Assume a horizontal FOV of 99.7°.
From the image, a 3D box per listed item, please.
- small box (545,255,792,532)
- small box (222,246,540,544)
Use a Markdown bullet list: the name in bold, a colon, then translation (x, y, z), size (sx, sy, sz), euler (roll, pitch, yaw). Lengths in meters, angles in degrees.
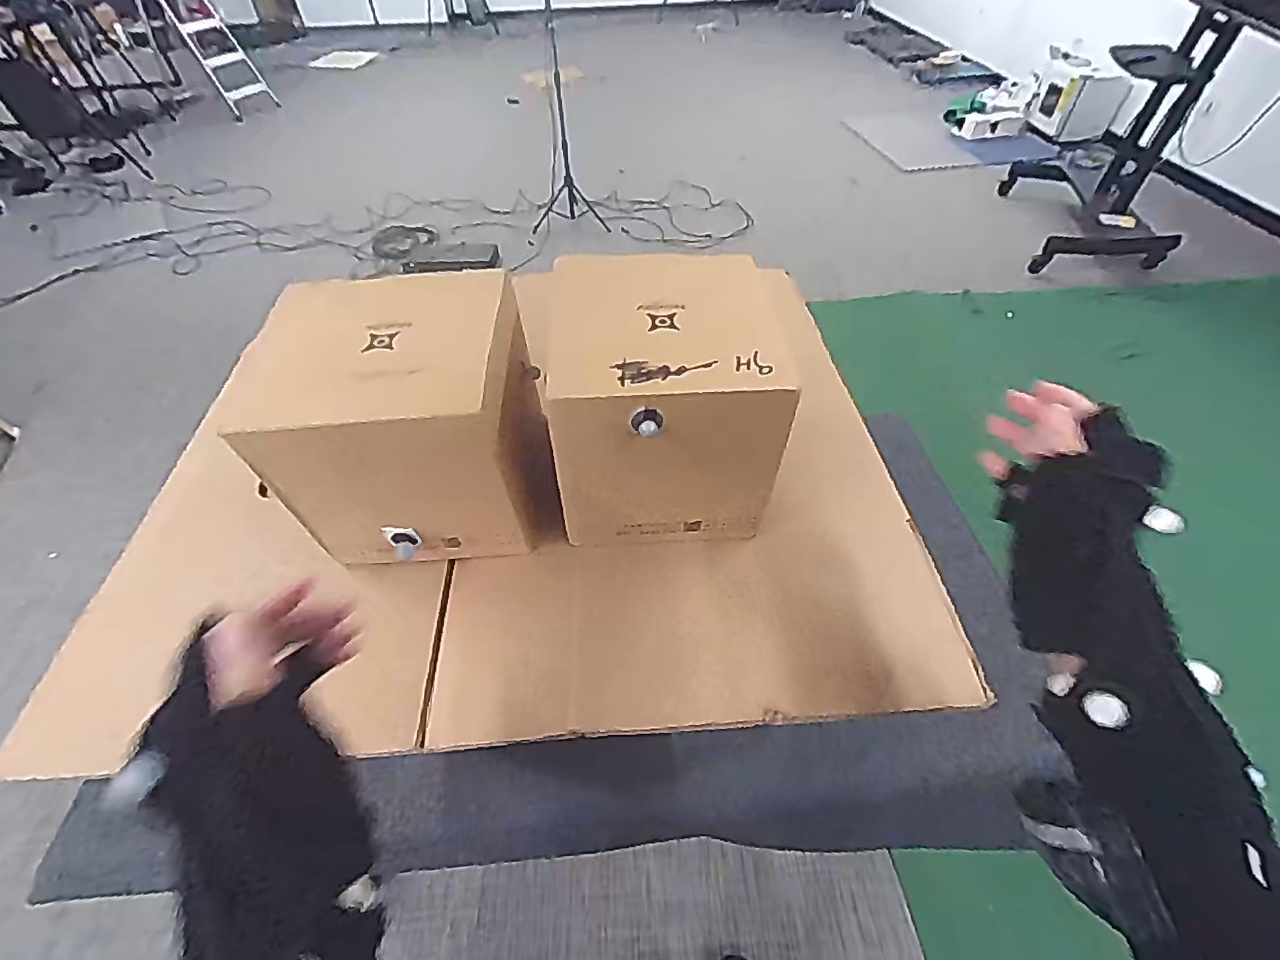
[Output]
- **small box**: translation (0.014, -0.074, 0.466), size (0.168, 0.176, 0.179), euler (-2, 49, -2)
- **small box**: translation (-0.182, -0.068, 0.450), size (0.168, 0.176, 0.179), euler (-5, 52, -1)
